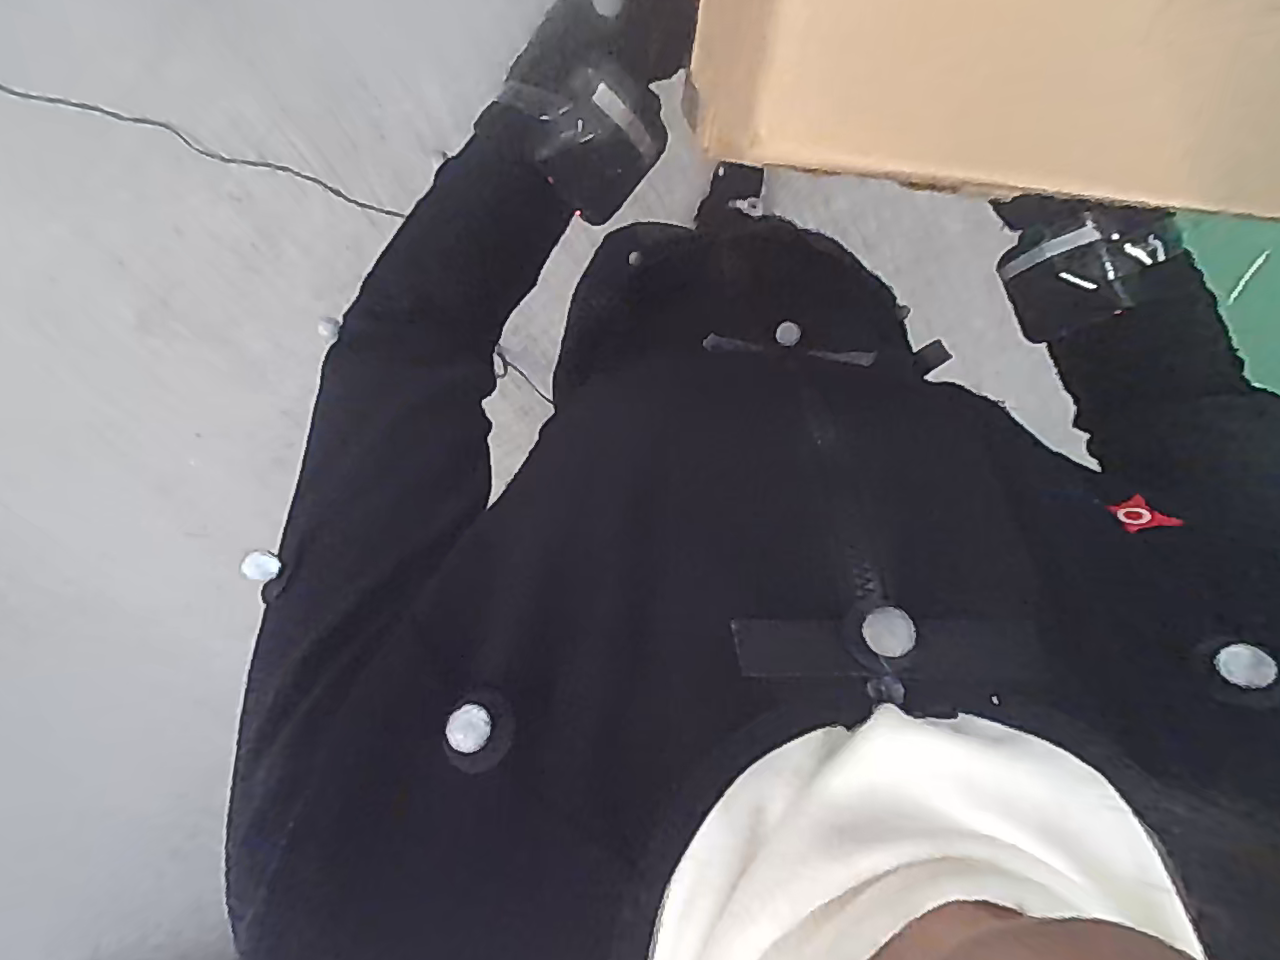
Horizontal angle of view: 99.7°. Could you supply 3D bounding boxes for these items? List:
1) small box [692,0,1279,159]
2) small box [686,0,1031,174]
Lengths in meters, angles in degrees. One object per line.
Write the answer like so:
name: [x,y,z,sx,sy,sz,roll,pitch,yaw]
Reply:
small box: [0.108,-0.200,0.132,0.168,0.176,0.179,4,131,-3]
small box: [0.116,-0.280,0.278,0.168,0.176,0.179,2,132,-2]
